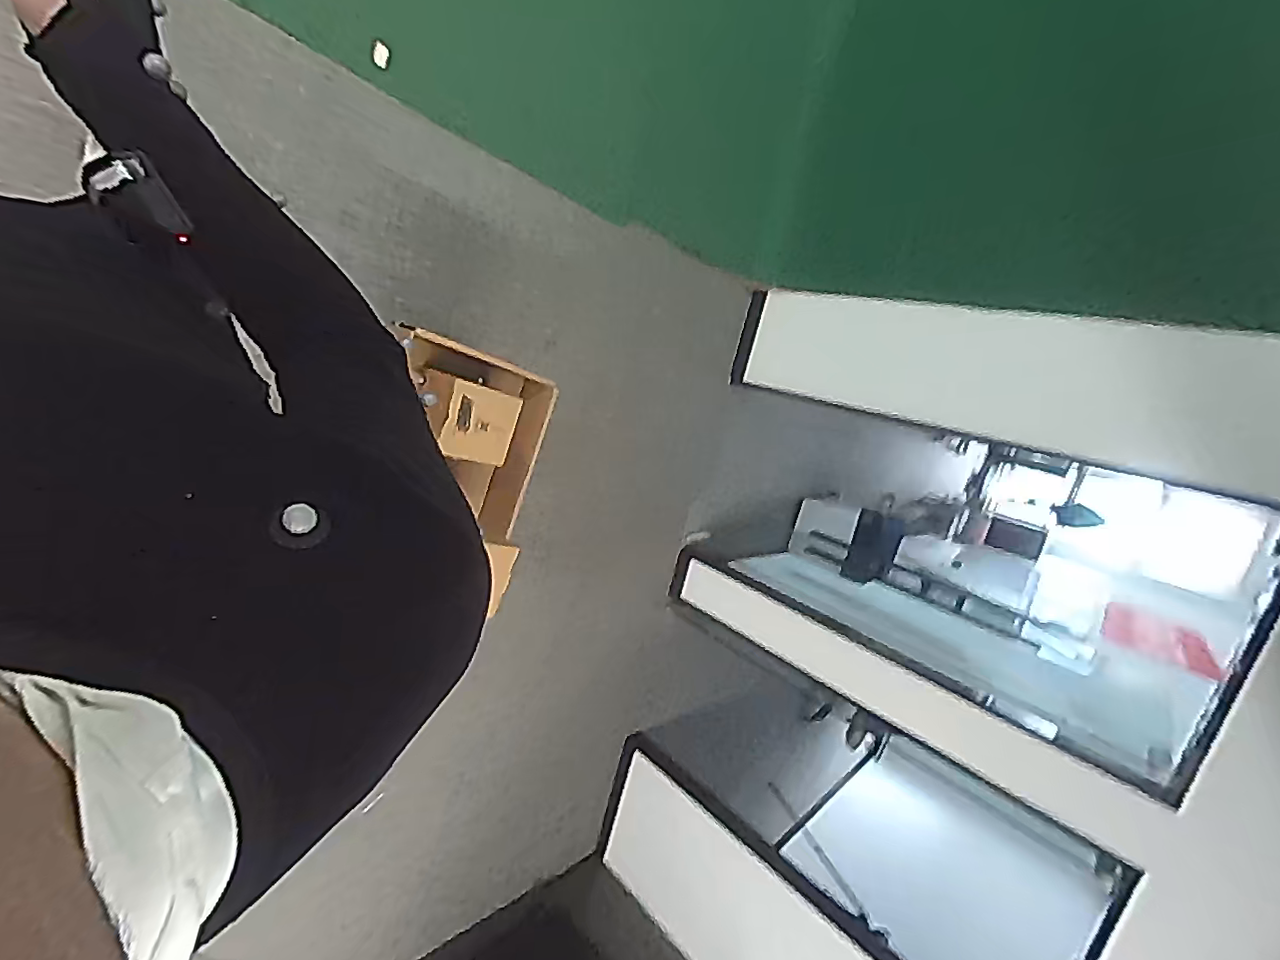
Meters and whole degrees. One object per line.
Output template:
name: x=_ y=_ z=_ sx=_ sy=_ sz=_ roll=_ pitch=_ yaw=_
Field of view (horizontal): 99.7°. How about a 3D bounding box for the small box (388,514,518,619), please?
small box: x=-0.403 y=0.184 z=1.161 sx=0.179 sy=0.176 sz=0.168 roll=20 pitch=92 yaw=-50
